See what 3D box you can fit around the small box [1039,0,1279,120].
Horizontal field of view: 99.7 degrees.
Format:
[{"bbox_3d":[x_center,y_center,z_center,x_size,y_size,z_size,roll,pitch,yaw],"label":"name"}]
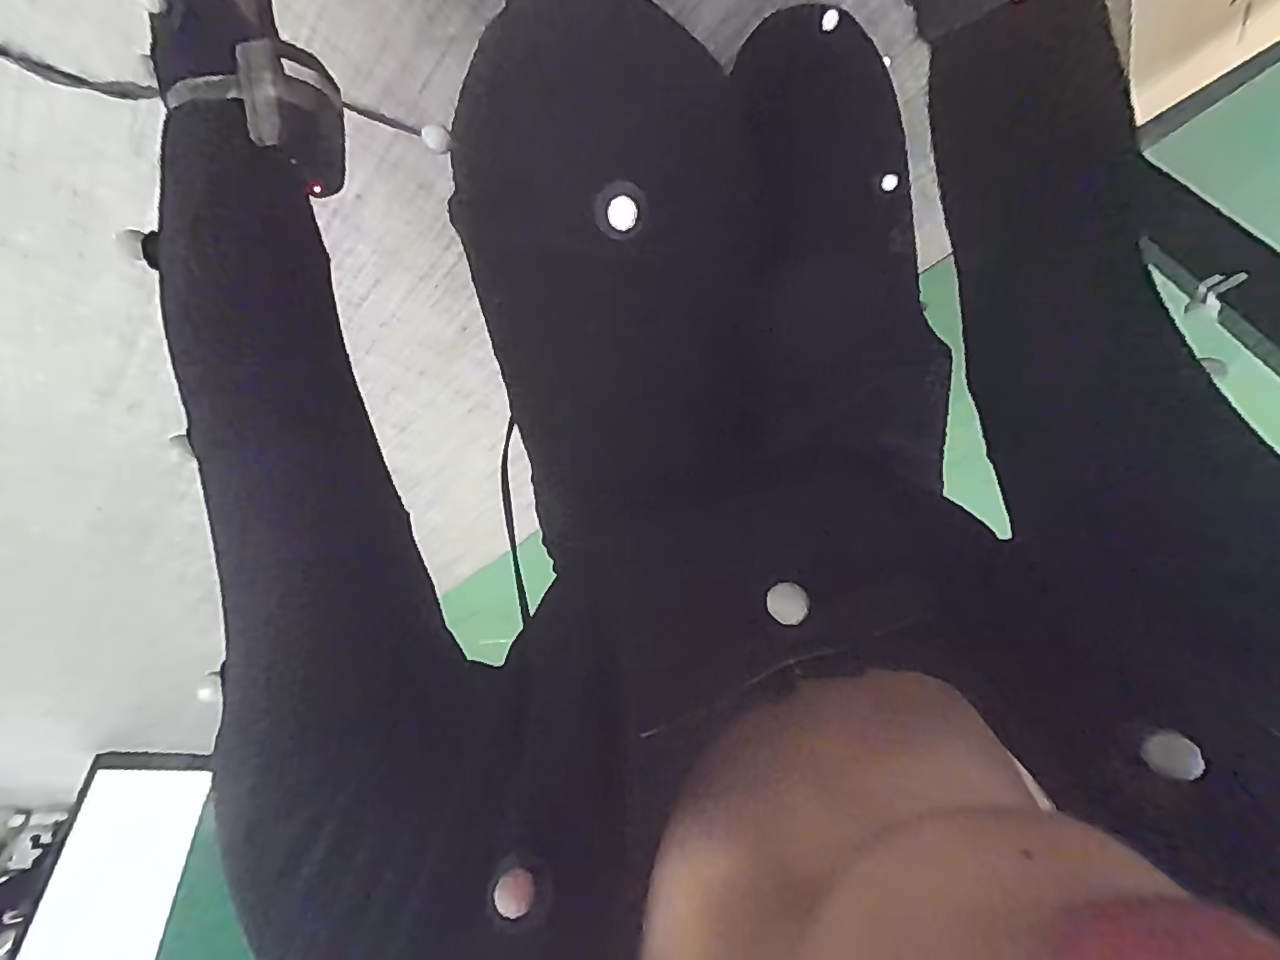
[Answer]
[{"bbox_3d":[0.476,-0.475,0.469,0.168,0.176,0.179,-28,140,28],"label":"small box"}]
